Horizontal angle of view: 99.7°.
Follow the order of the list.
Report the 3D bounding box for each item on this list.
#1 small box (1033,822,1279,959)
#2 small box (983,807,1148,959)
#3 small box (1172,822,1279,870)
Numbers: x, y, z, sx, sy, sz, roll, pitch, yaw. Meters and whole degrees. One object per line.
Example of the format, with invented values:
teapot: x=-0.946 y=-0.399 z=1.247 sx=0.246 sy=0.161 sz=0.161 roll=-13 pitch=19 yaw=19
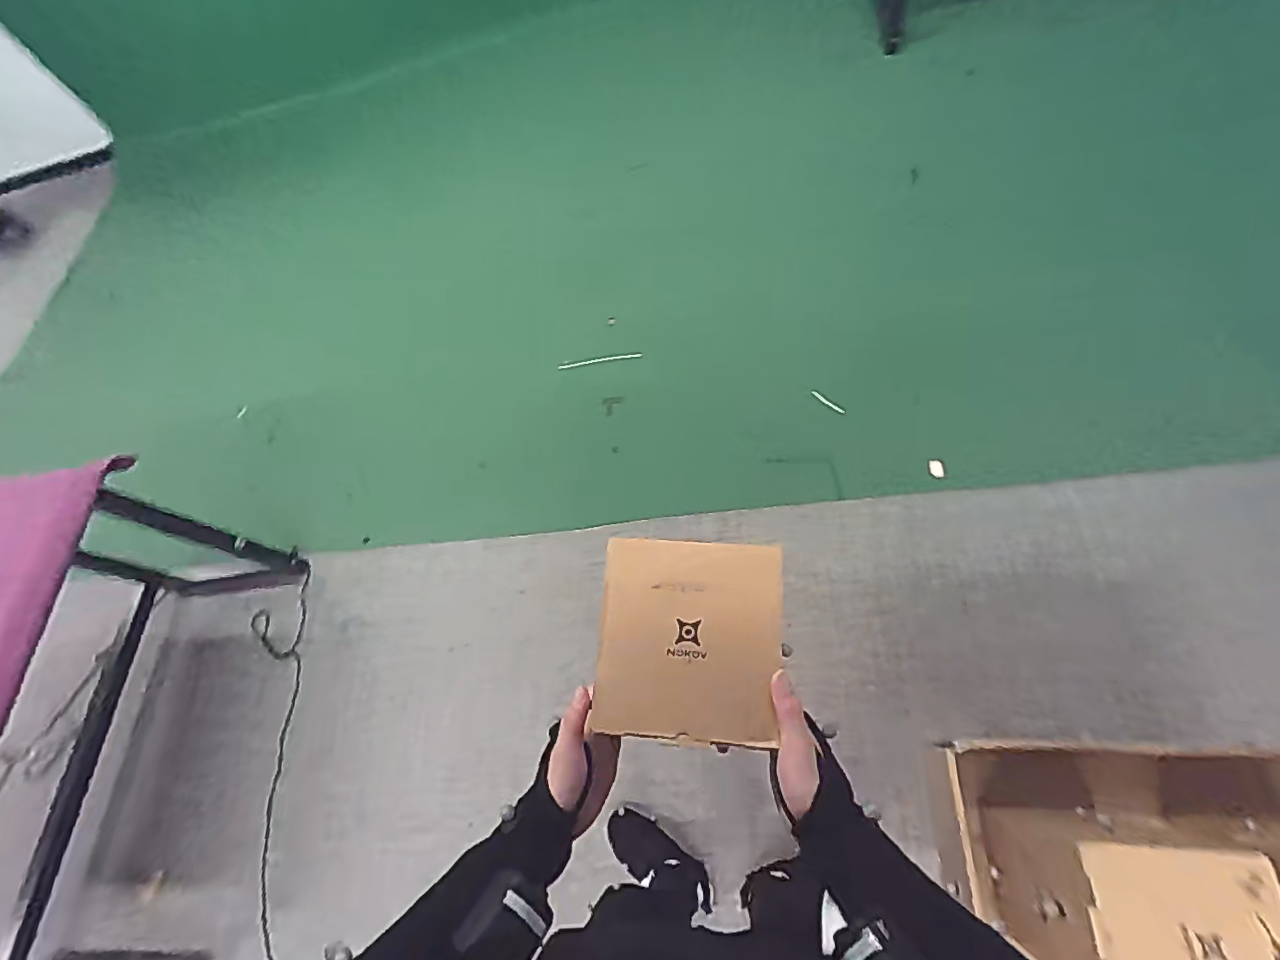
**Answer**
small box: x=0.578 y=0.497 z=0.608 sx=0.179 sy=0.176 sz=0.168 roll=-3 pitch=66 yaw=14
small box: x=0.615 y=0.564 z=0.751 sx=0.179 sy=0.176 sz=0.168 roll=-2 pitch=65 yaw=12
small box: x=0.863 y=0.553 z=0.698 sx=0.179 sy=0.176 sz=0.168 roll=-6 pitch=65 yaw=16
